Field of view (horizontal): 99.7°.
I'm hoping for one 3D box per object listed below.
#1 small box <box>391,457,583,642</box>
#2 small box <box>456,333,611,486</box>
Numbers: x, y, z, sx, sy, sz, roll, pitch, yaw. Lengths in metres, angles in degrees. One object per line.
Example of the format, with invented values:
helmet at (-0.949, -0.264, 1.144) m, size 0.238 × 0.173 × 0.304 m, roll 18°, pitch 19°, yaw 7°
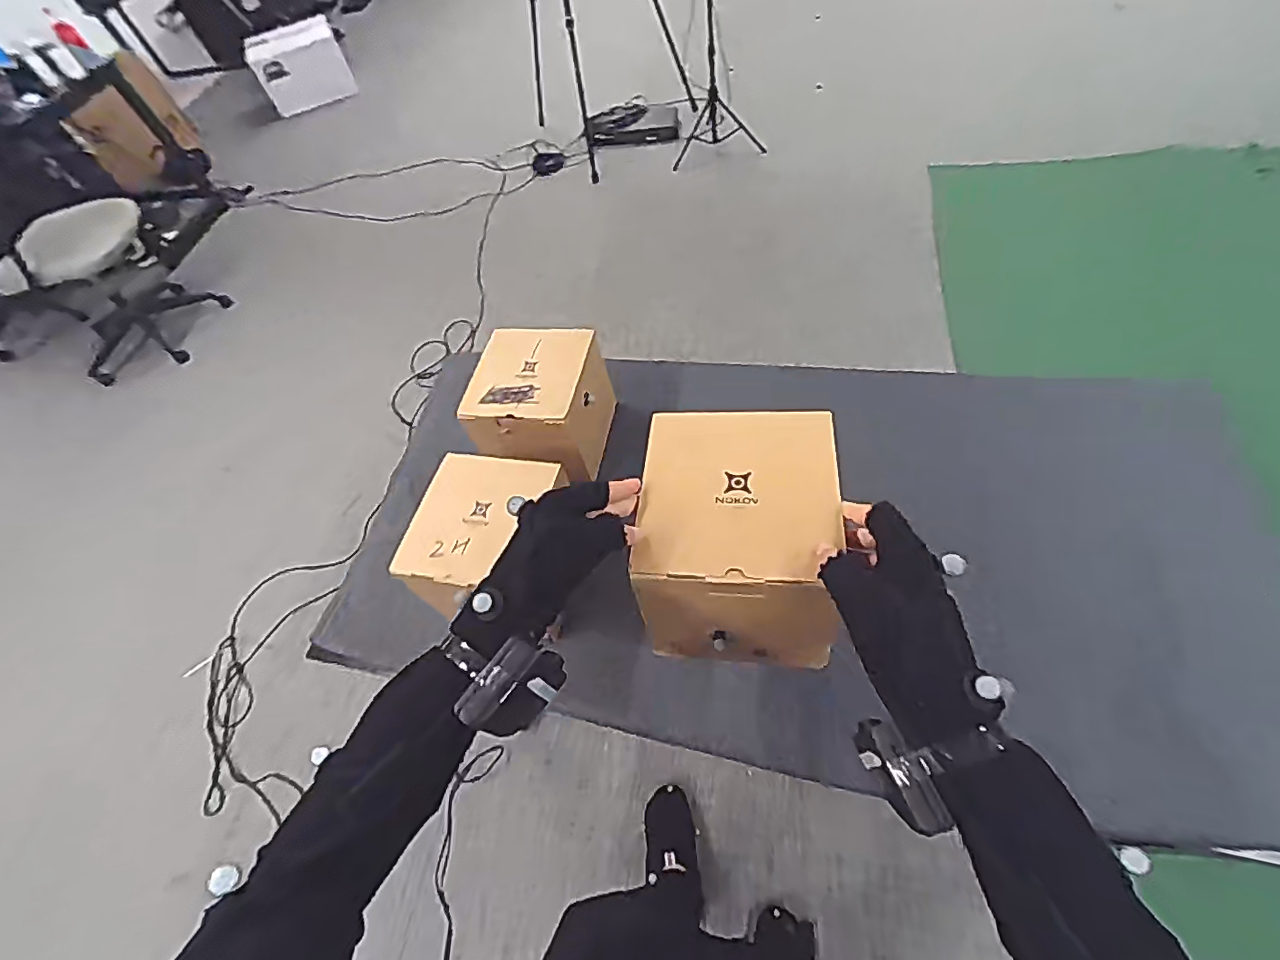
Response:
small box at (-0.185, 0.093, 0.718) m, size 0.168 × 0.176 × 0.179 m, roll 6°, pitch 58°, yaw 14°
small box at (-0.151, -0.106, 0.842) m, size 0.168 × 0.176 × 0.179 m, roll 4°, pitch 58°, yaw 13°
